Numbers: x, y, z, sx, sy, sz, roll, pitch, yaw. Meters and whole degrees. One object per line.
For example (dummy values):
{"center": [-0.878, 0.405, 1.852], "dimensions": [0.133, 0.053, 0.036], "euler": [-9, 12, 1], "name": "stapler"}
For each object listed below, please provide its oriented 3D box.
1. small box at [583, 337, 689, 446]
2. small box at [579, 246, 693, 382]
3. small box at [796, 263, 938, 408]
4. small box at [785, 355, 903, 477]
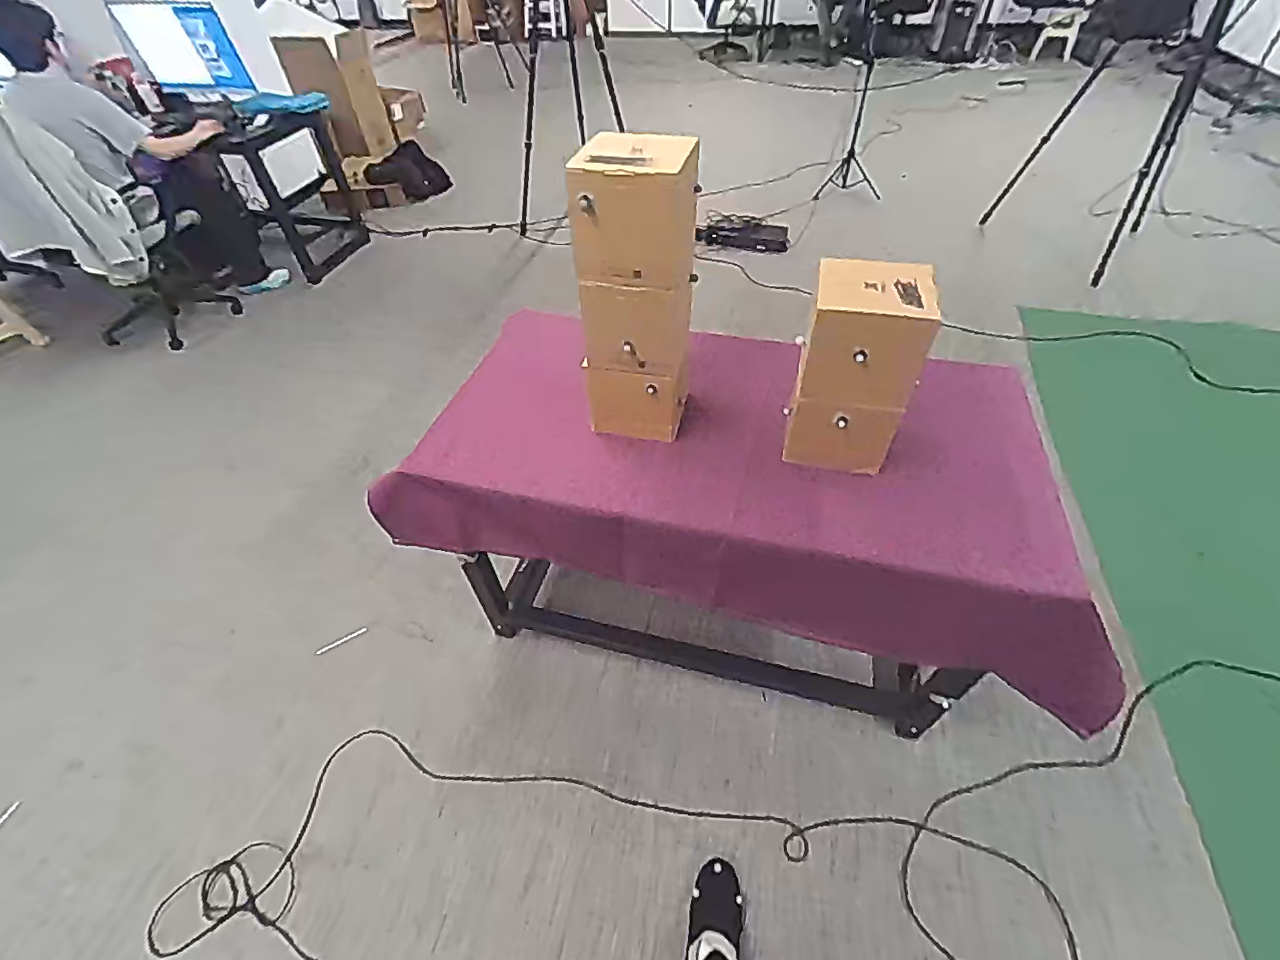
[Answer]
{"center": [-0.002, -0.188, 1.103], "dimensions": [0.179, 0.176, 0.168], "euler": [9, 48, 10], "name": "small box"}
{"center": [-0.001, -0.303, 0.984], "dimensions": [0.168, 0.176, 0.179], "euler": [8, 48, 10], "name": "small box"}
{"center": [0.367, -0.237, 0.898], "dimensions": [0.179, 0.176, 0.168], "euler": [8, 49, 12], "name": "small box"}
{"center": [0.376, -0.124, 1.017], "dimensions": [0.179, 0.176, 0.168], "euler": [10, 49, 12], "name": "small box"}
